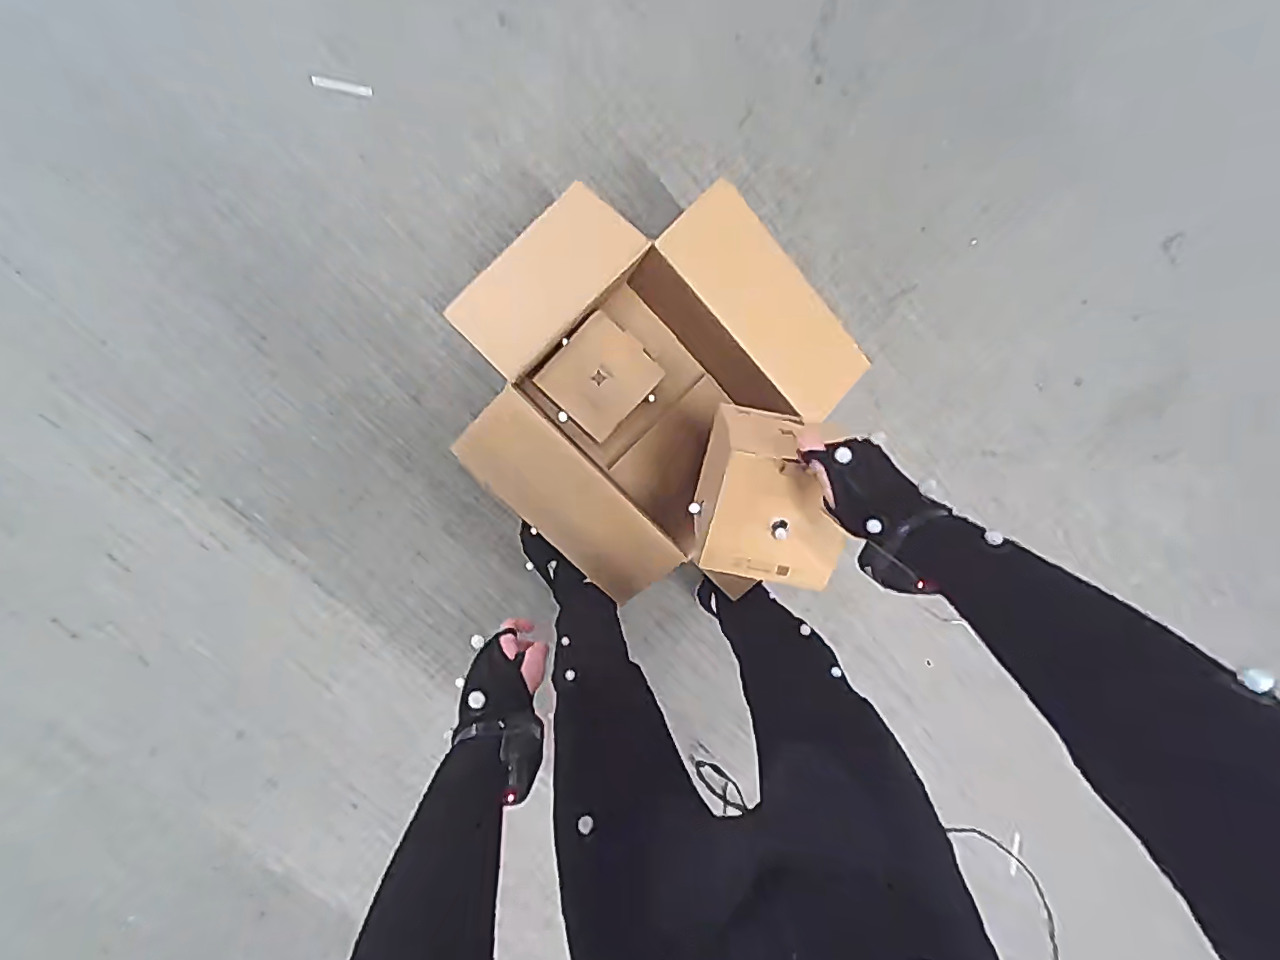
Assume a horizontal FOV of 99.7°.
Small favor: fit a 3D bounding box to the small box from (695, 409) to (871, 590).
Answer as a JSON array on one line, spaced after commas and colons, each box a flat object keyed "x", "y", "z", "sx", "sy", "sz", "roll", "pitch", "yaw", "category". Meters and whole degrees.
[{"x": 0.174, "y": 0.023, "z": 0.721, "sx": 0.168, "sy": 0.179, "sz": 0.176, "roll": 12, "pitch": 114, "yaw": -3, "category": "small box"}]
